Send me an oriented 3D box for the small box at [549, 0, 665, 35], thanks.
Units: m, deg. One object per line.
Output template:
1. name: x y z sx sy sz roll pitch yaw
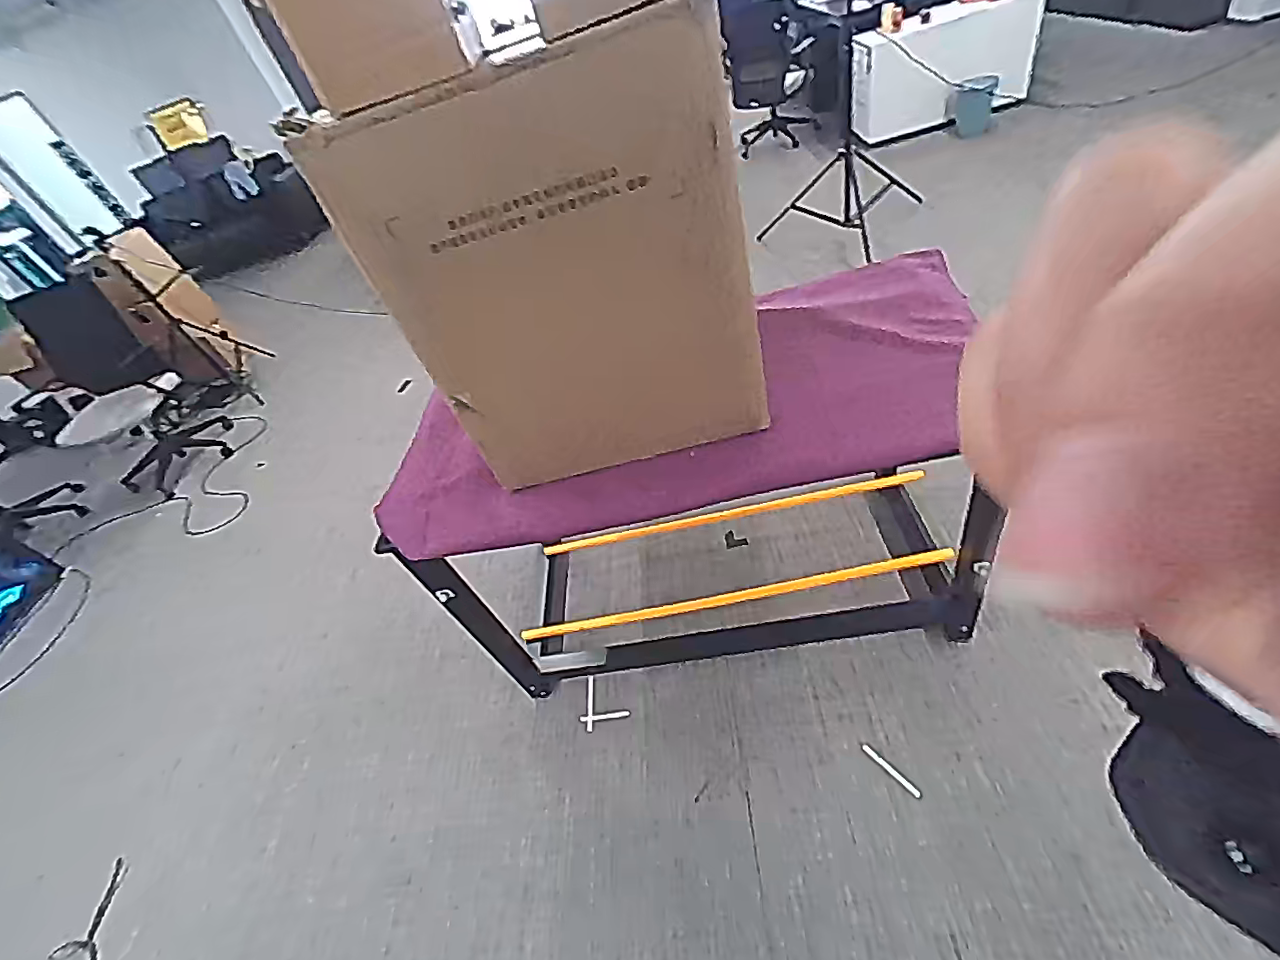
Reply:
1. small box: -0.057 -0.747 0.745 0.168 0.176 0.179 -12 43 11
